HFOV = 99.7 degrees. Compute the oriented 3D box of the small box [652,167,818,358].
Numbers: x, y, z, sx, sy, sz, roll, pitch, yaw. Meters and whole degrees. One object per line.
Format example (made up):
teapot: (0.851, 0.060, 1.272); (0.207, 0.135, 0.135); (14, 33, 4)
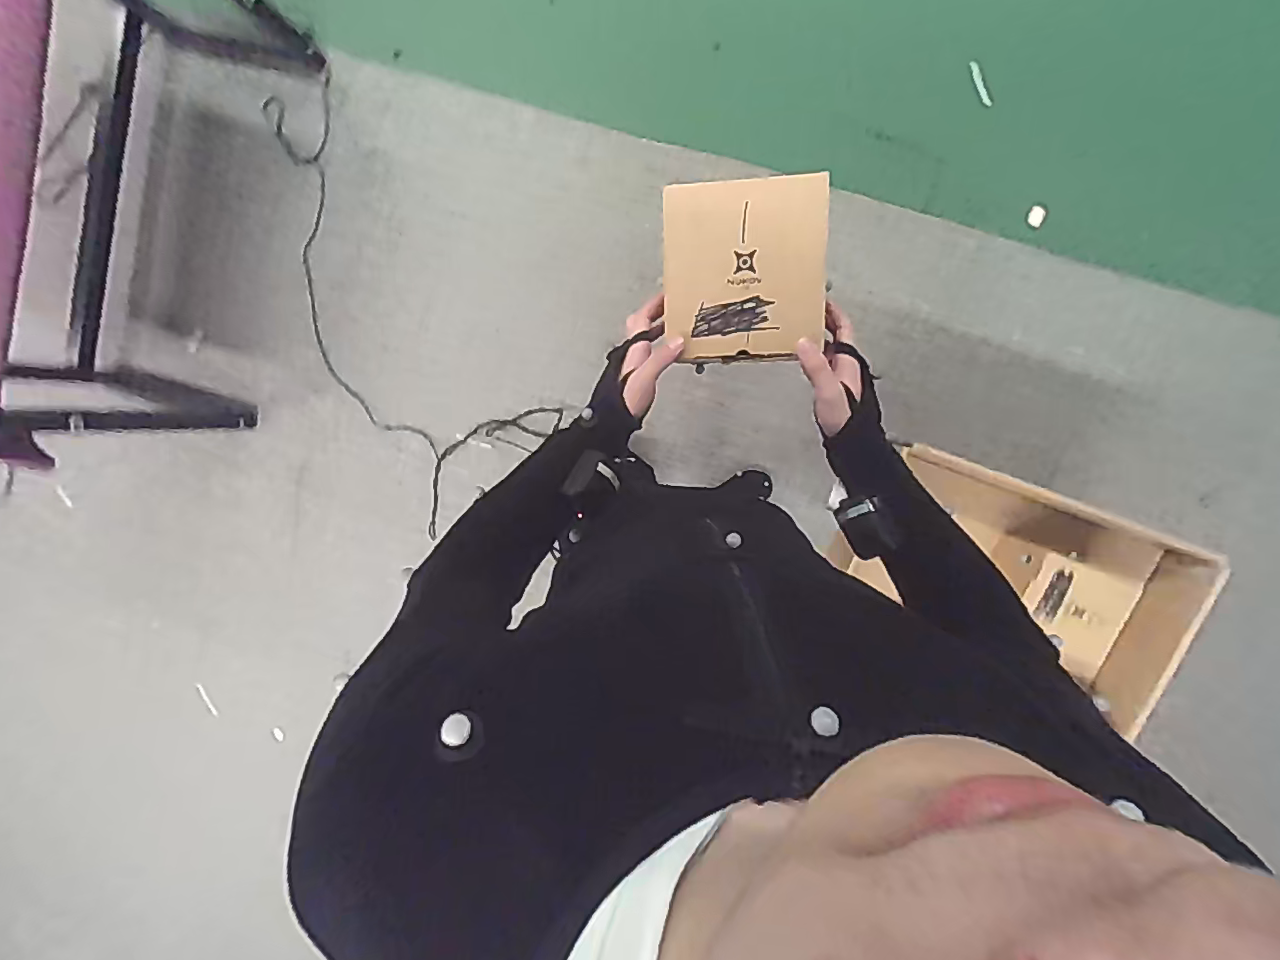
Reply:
small box: (0.106, -0.233, 0.628); (0.168, 0.176, 0.179); (-1, 100, 8)
